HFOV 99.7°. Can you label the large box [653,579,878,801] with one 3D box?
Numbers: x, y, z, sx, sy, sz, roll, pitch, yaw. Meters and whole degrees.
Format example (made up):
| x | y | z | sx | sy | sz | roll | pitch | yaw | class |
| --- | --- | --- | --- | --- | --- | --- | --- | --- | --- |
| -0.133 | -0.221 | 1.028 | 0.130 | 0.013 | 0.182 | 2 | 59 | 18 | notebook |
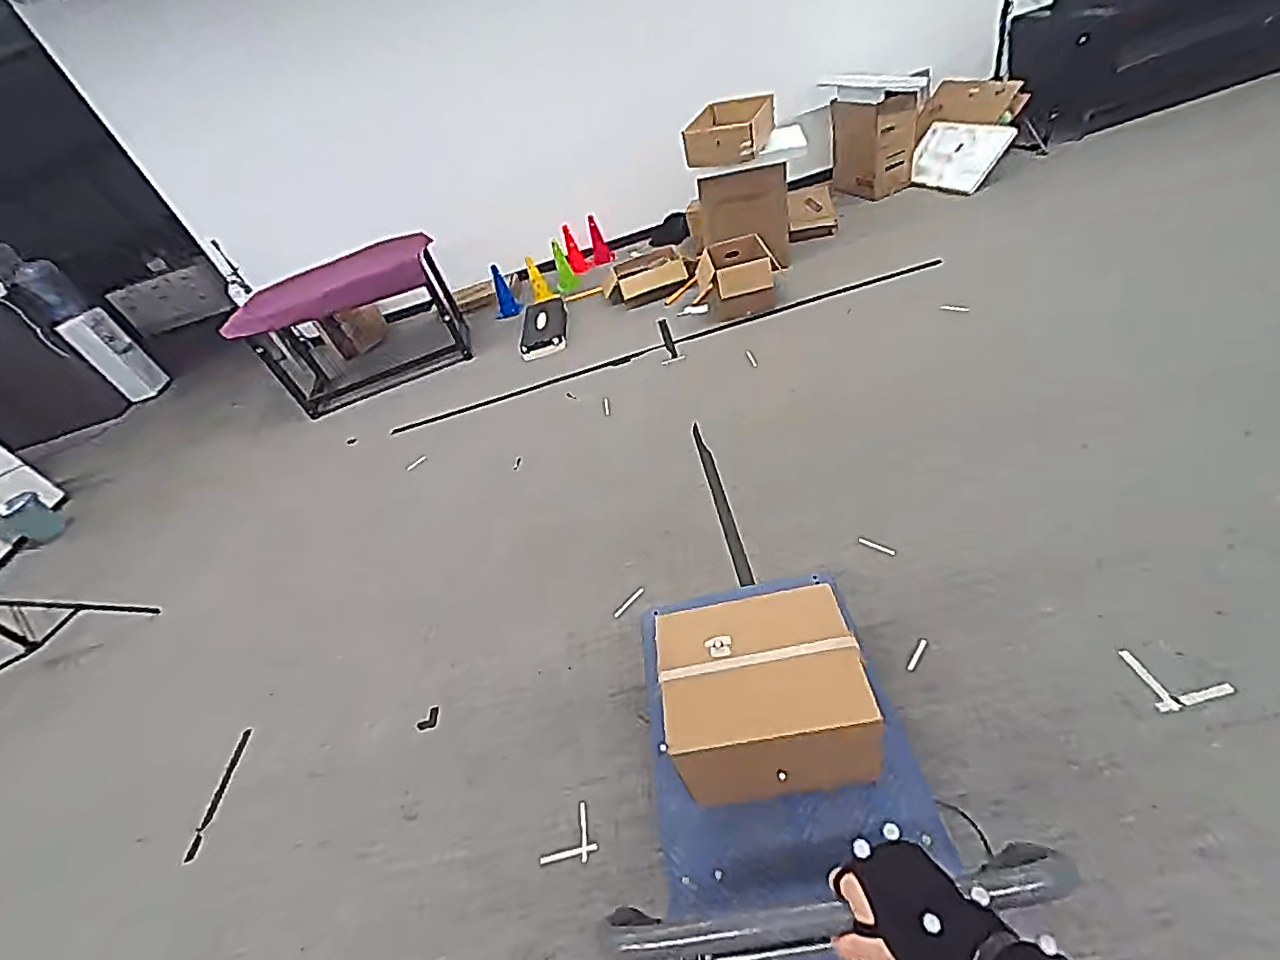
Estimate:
| x | y | z | sx | sy | sz | roll | pitch | yaw | class |
| --- | --- | --- | --- | --- | --- | --- | --- | --- | --- |
| 0.271 | 0.473 | 1.205 | 0.408 | 0.320 | 0.320 | -14 | 40 | 8 | large box |
